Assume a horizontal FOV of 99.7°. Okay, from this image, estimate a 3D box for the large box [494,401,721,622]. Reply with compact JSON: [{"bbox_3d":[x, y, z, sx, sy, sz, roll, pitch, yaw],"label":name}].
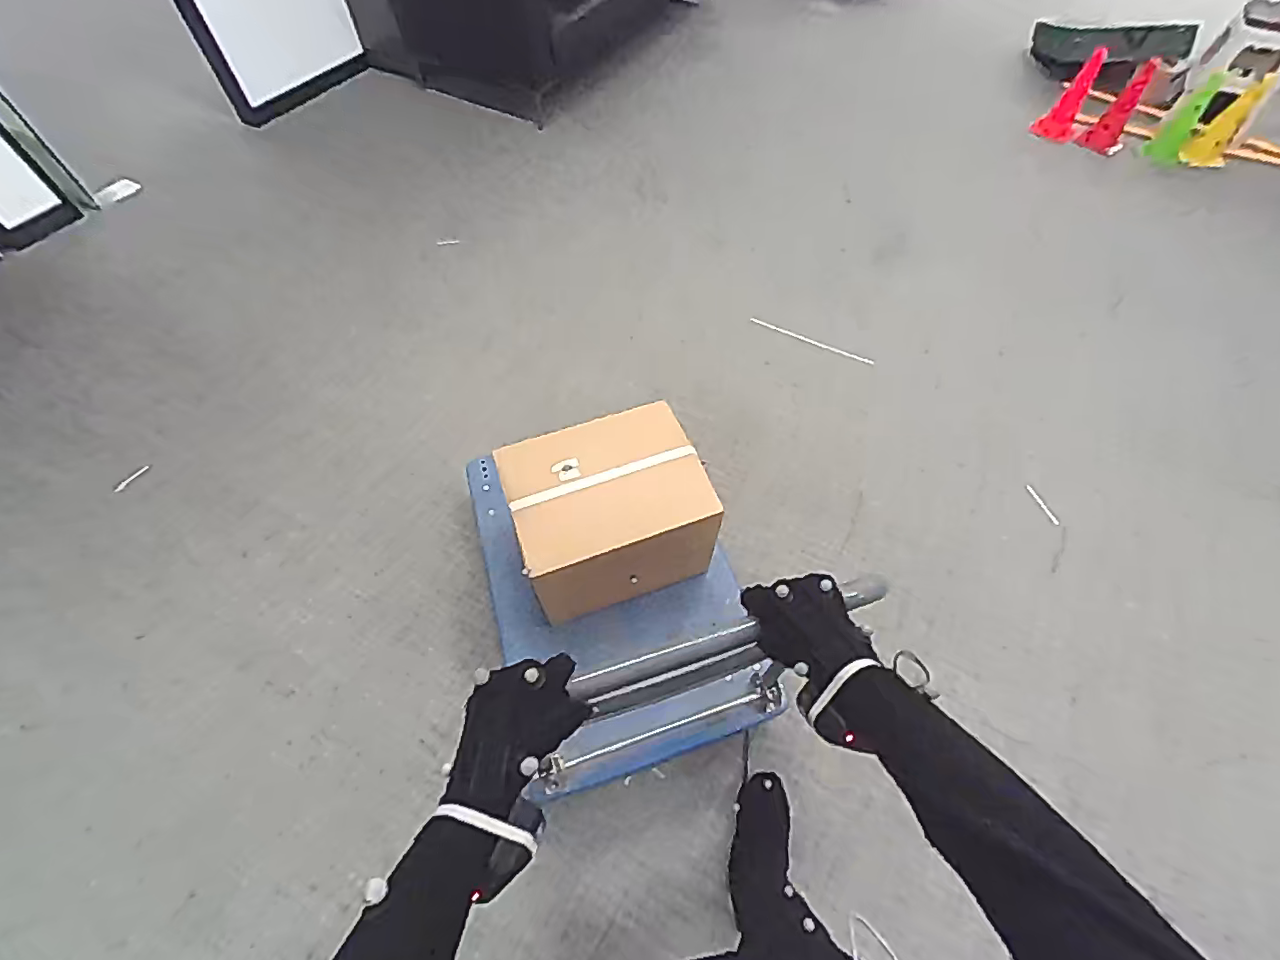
[{"bbox_3d":[-0.073,0.079,1.247,0.408,0.320,0.320,-19,60,-11],"label":"large box"}]
